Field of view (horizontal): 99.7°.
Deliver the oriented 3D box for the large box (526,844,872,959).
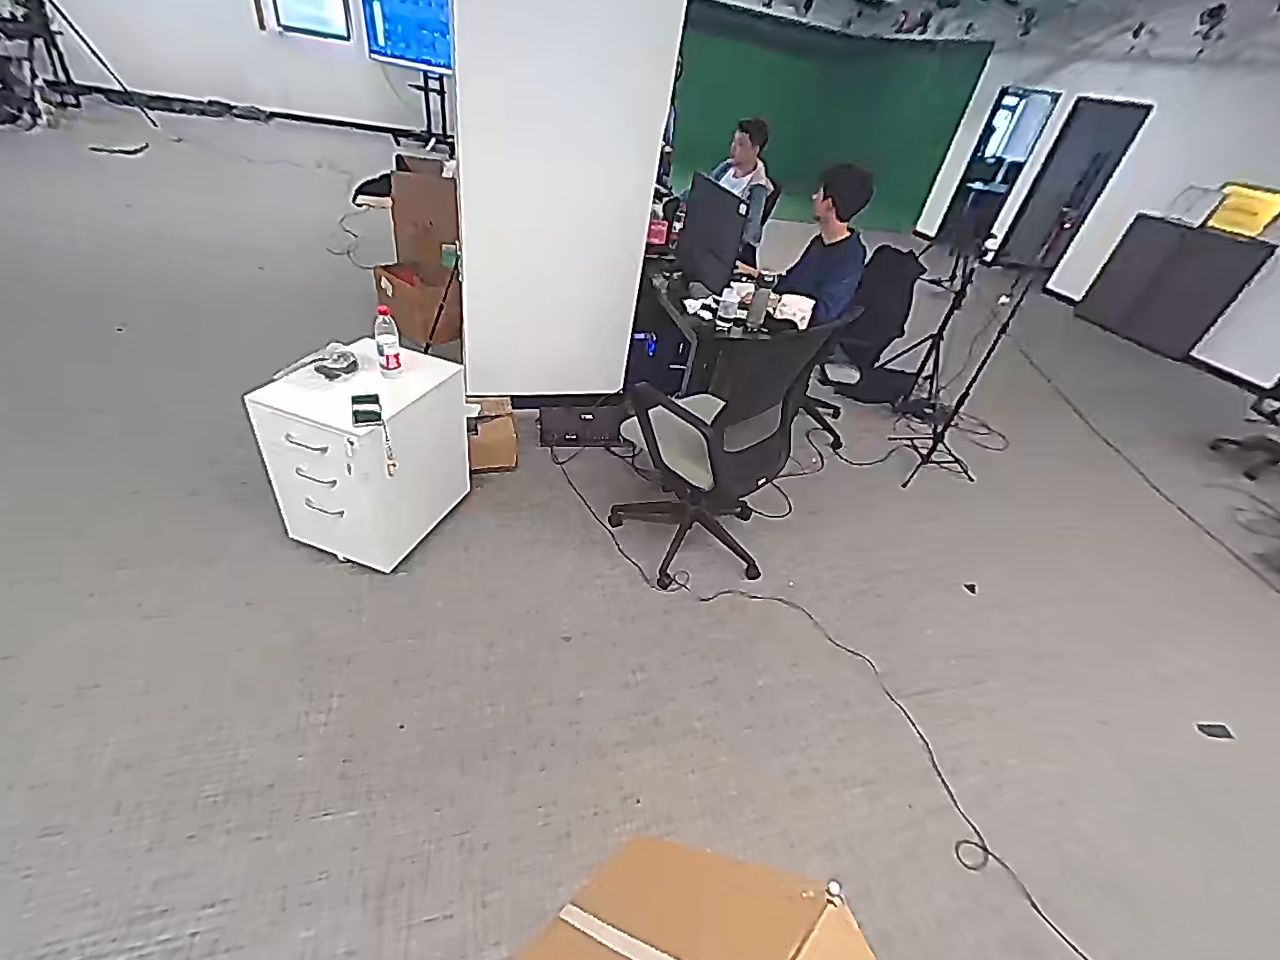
[{"bbox_3d":[0.074,0.709,0.634,0.320,0.408,0.320,-25,85,-40],"label":"large box"}]
